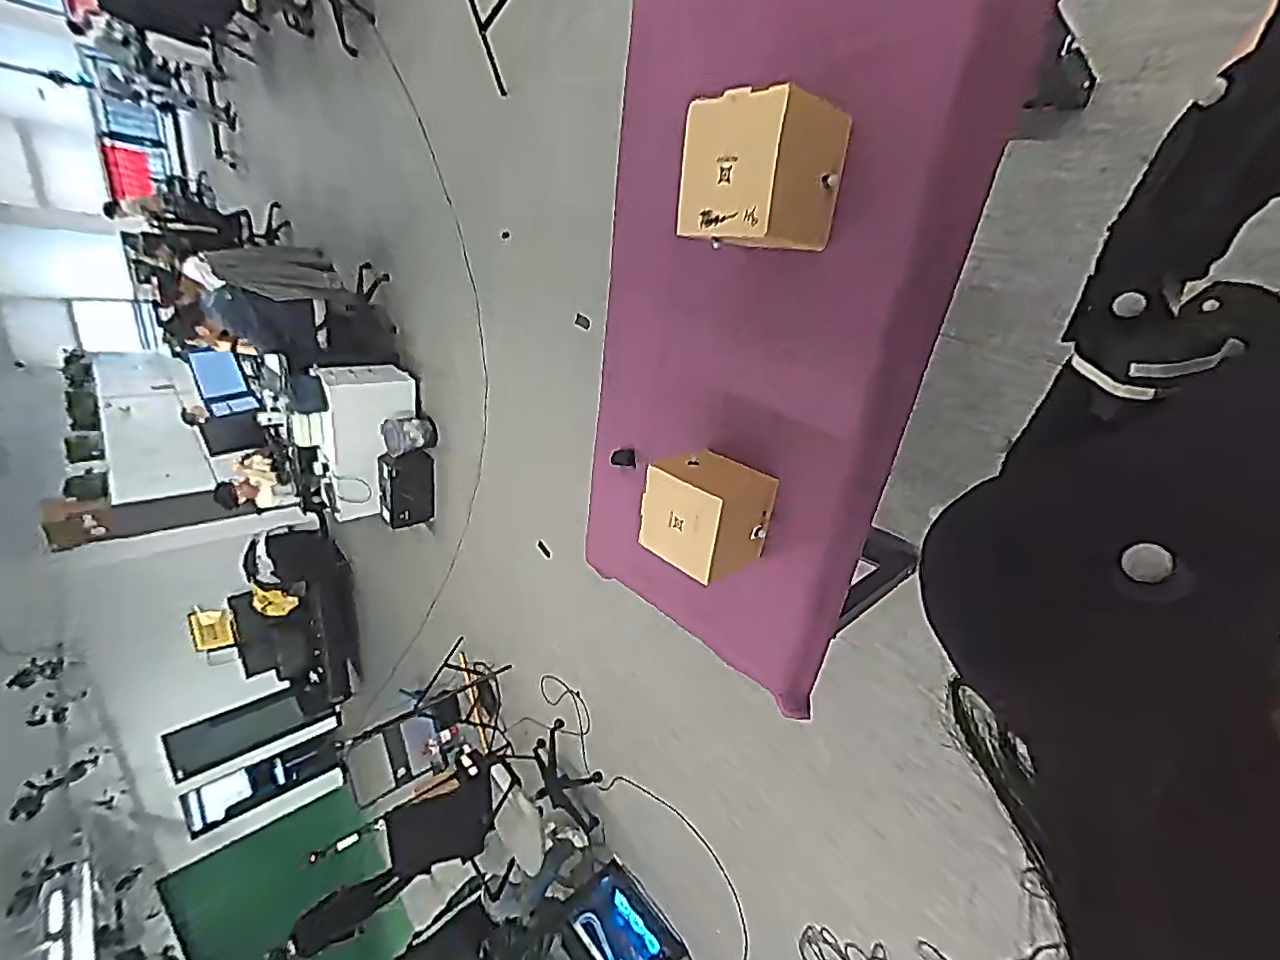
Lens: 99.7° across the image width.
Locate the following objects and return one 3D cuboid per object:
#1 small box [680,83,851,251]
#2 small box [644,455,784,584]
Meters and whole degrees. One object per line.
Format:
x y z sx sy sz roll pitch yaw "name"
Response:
0.184 -0.442 0.790 0.168 0.176 0.179 26 119 42 "small box"
0.133 0.060 0.989 0.179 0.176 0.168 26 120 40 "small box"
